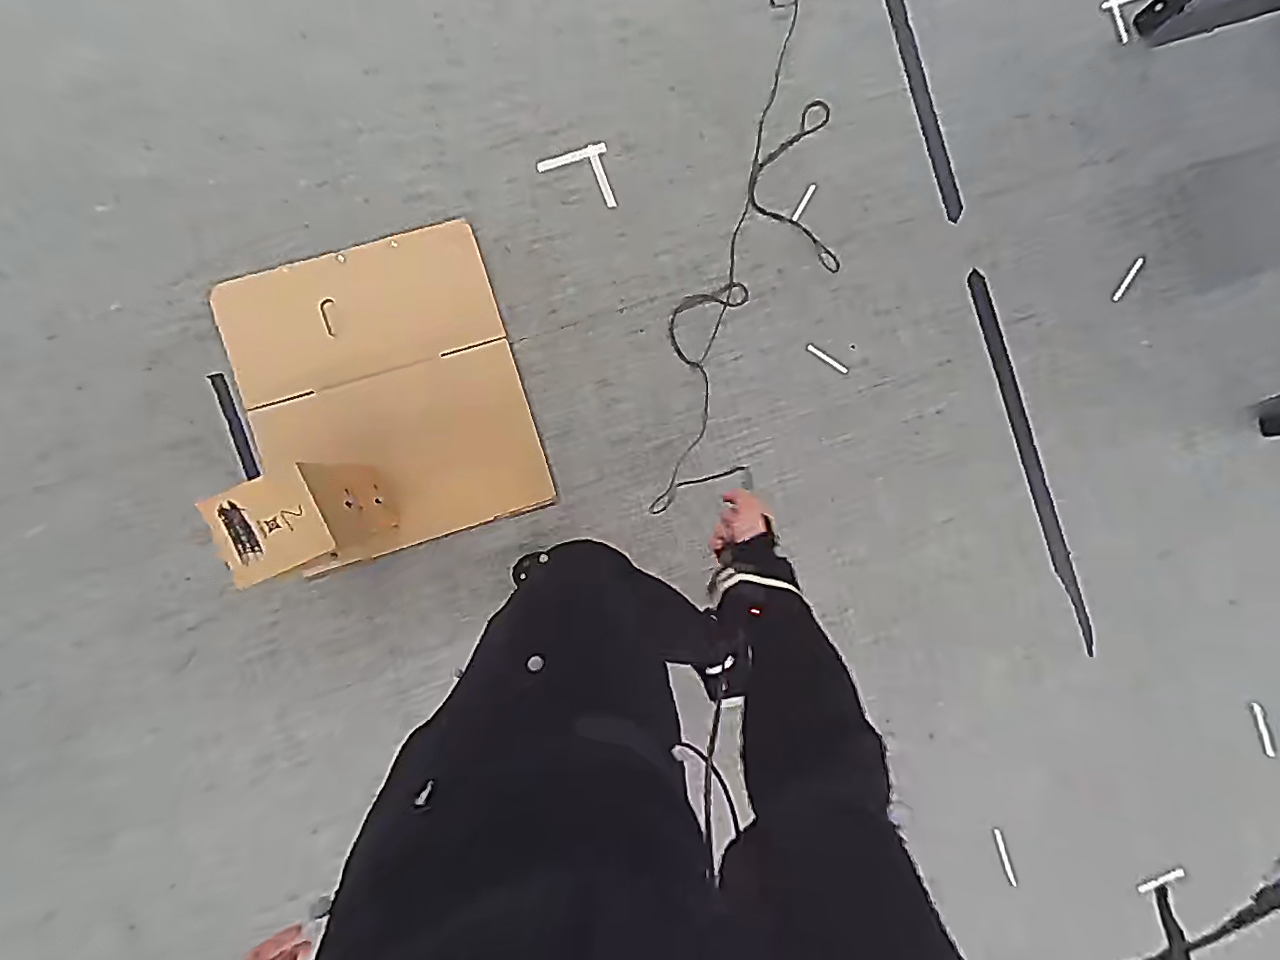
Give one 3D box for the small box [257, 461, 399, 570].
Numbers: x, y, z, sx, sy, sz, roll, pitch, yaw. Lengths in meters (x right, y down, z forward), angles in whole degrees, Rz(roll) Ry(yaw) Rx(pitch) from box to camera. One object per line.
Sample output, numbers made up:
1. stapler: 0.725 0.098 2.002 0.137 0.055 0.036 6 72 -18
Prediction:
1. small box: -0.655 0.073 1.159 0.179 0.176 0.168 -28 93 -5
